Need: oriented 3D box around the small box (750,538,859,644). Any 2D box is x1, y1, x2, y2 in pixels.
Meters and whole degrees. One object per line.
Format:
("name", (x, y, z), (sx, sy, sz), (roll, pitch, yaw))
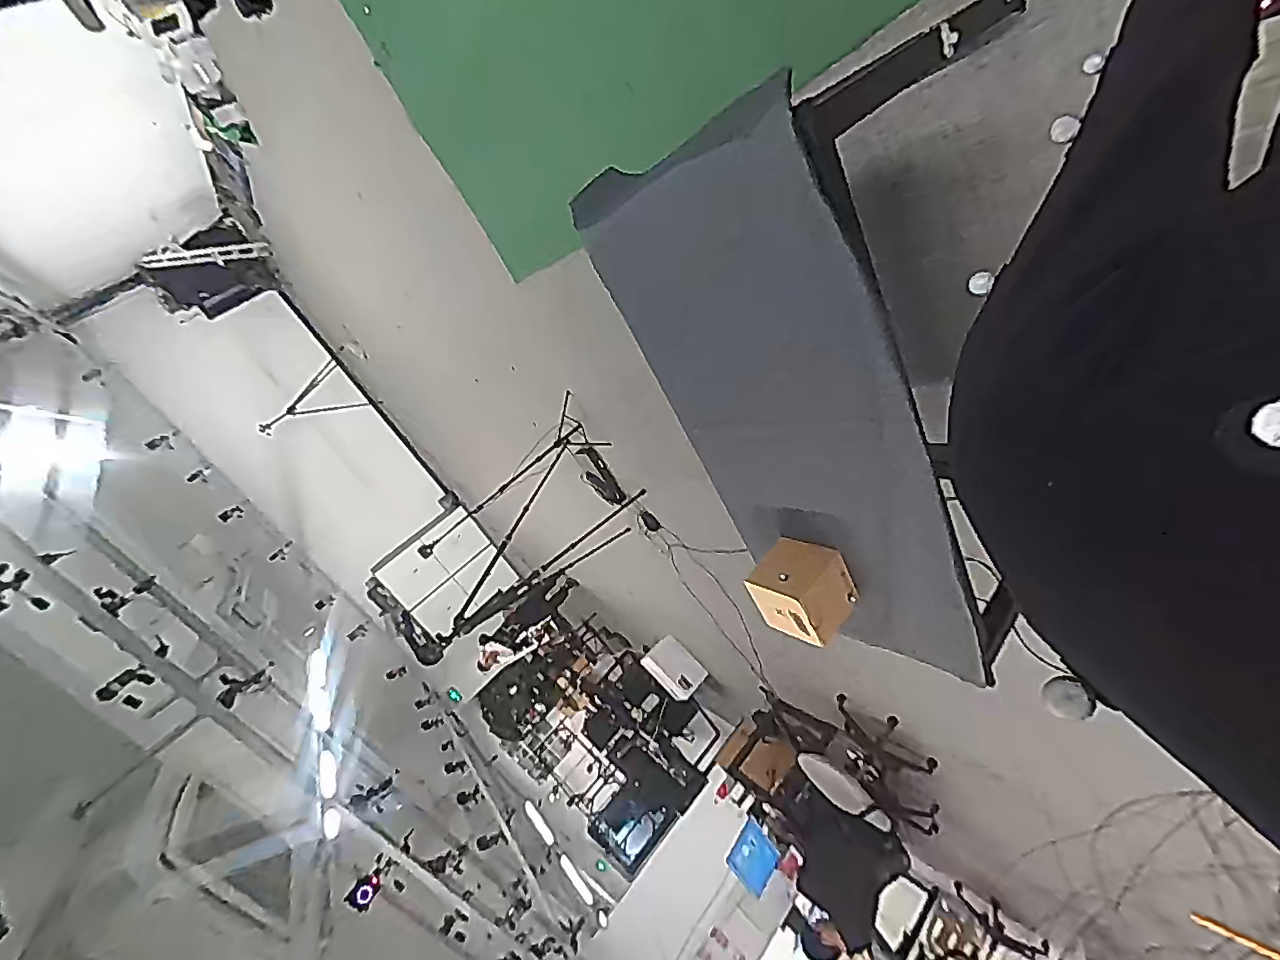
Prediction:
("small box", (0.410, 0.263, 1.325), (0.179, 0.176, 0.168), (11, 137, 56))
